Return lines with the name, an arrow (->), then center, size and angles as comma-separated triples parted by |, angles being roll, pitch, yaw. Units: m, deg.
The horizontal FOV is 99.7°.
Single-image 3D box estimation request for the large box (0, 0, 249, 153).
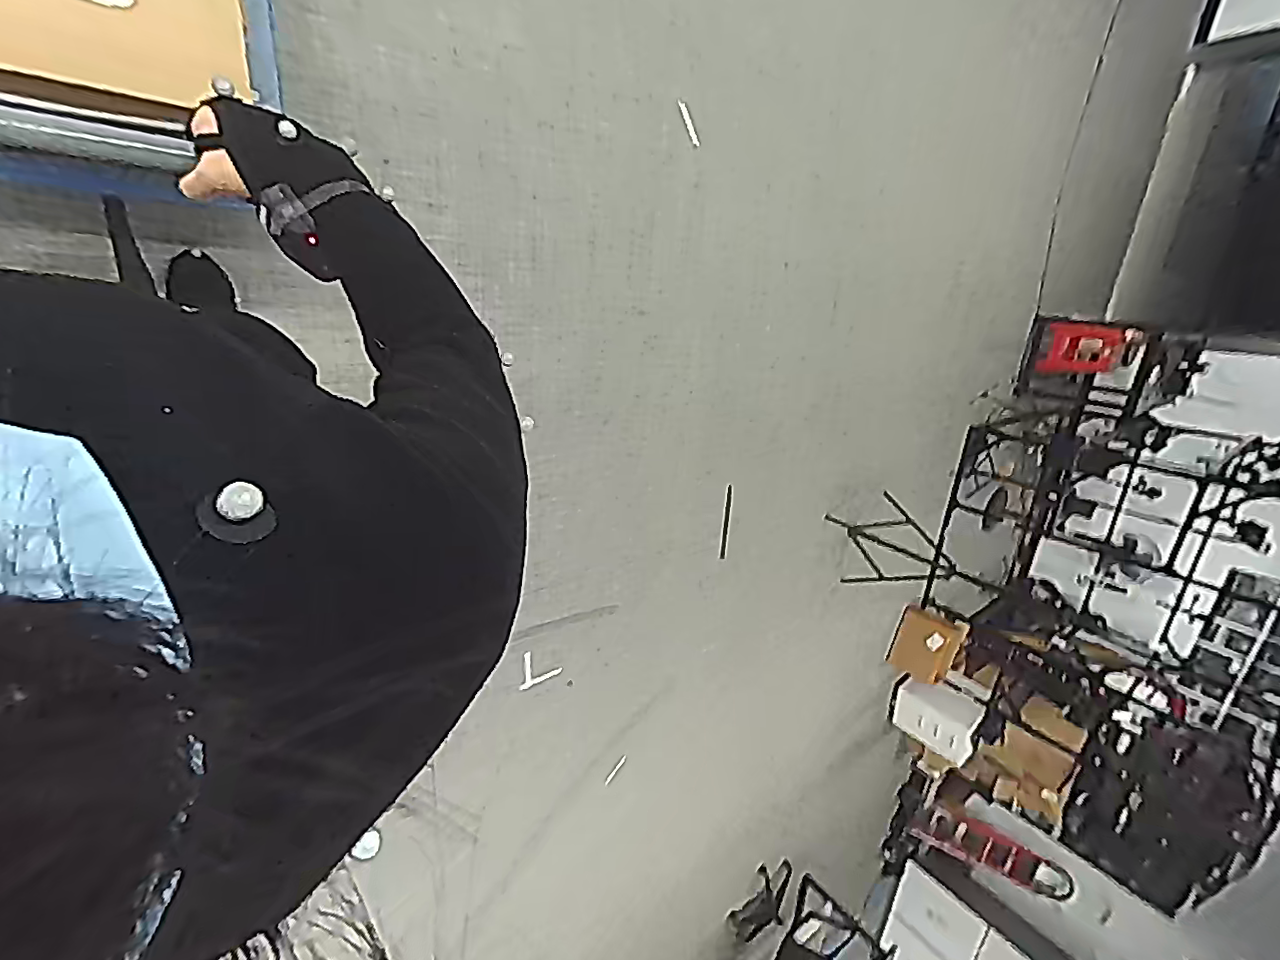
large box -> -0.772, -0.639, 0.673 | 0.408, 0.320, 0.320 | -11, 115, -38
